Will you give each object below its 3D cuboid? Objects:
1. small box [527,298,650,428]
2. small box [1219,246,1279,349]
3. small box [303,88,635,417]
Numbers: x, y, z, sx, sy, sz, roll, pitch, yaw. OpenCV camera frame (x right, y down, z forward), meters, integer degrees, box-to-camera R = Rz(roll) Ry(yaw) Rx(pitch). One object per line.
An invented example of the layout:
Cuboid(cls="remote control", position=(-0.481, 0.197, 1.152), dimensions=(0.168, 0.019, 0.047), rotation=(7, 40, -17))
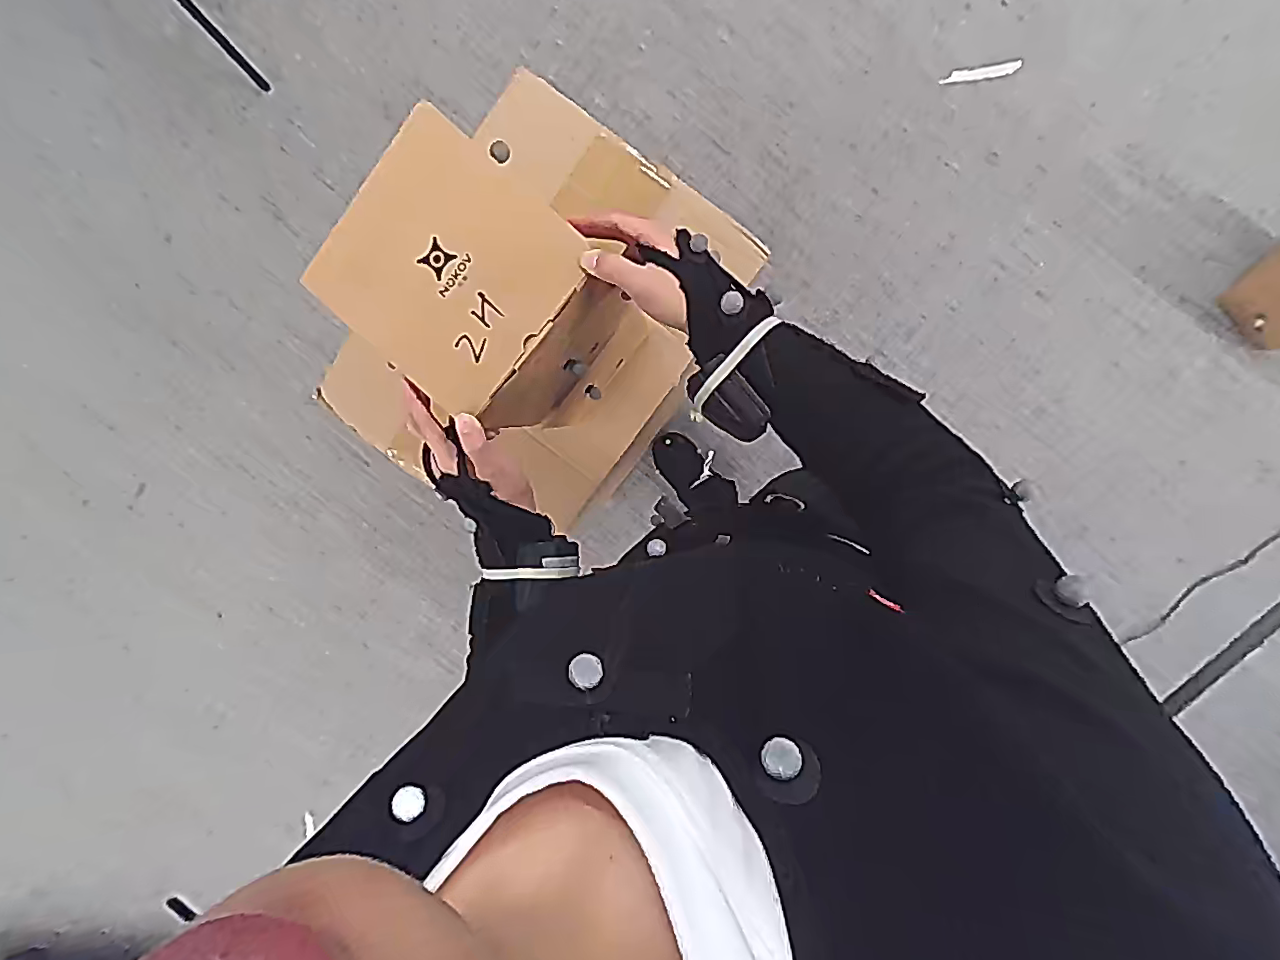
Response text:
Cuboid(cls="small box", position=(-0.104, -0.180, 0.629), dimensions=(0.179, 0.176, 0.168), rotation=(39, 99, 1))
Cuboid(cls="small box", position=(1.356, -0.386, 1.082), dimensions=(0.179, 0.176, 0.168), rotation=(-44, 90, 10))
Cuboid(cls="small box", position=(-0.126, -0.167, 0.465), dimensions=(0.179, 0.176, 0.168), rotation=(42, 100, 1))
